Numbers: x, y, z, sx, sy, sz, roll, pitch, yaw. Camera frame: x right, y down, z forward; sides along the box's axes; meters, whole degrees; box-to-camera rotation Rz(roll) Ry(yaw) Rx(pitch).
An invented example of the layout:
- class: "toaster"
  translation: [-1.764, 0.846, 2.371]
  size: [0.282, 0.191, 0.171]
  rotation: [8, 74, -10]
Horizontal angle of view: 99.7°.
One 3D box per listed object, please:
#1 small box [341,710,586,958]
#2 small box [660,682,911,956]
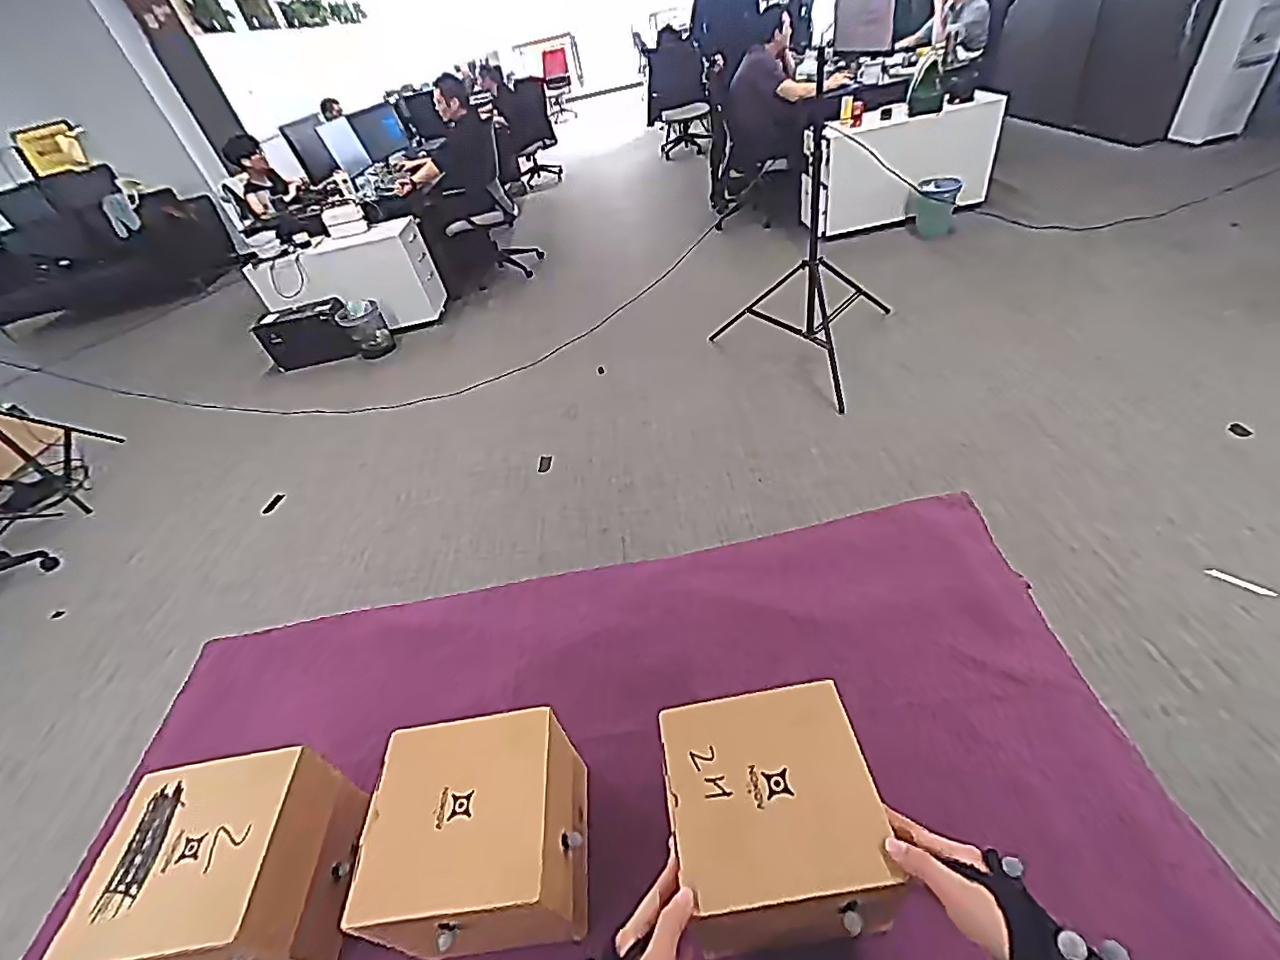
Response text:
- class: "small box"
  translation: [-0.156, 0.364, 0.555]
  size: [0.179, 0.176, 0.168]
  rotation: [-11, 41, 4]
- class: "small box"
  translation: [0.124, 0.322, 0.514]
  size: [0.179, 0.176, 0.168]
  rotation: [-12, 39, 3]
